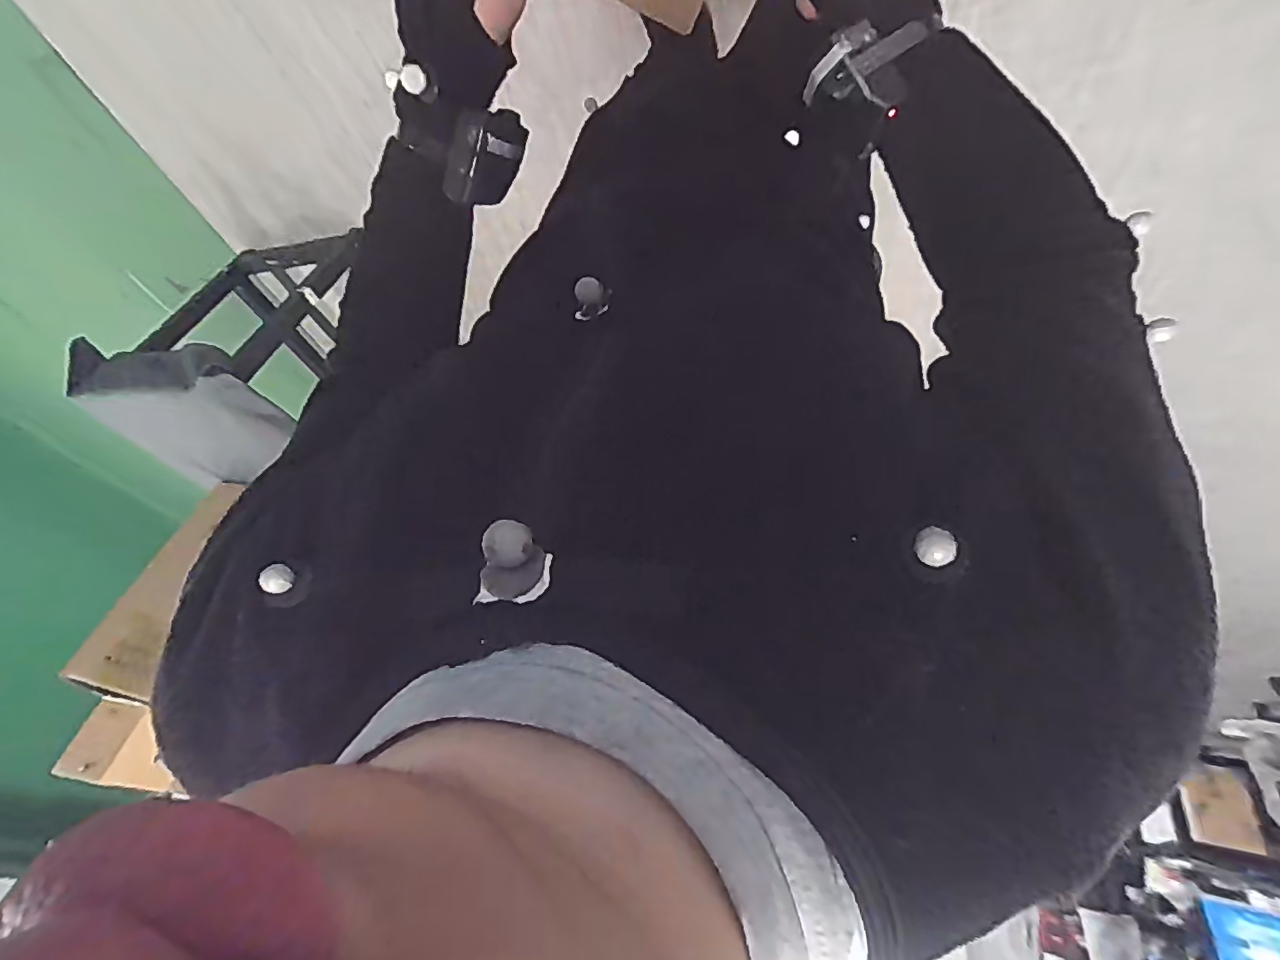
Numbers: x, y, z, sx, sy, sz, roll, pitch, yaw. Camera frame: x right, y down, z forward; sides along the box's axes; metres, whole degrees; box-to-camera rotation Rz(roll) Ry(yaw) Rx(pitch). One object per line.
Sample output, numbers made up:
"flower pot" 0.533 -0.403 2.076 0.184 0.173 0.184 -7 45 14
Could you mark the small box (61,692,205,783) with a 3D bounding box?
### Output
"small box" -1.287 0.661 1.390 0.168 0.176 0.179 1 145 16
